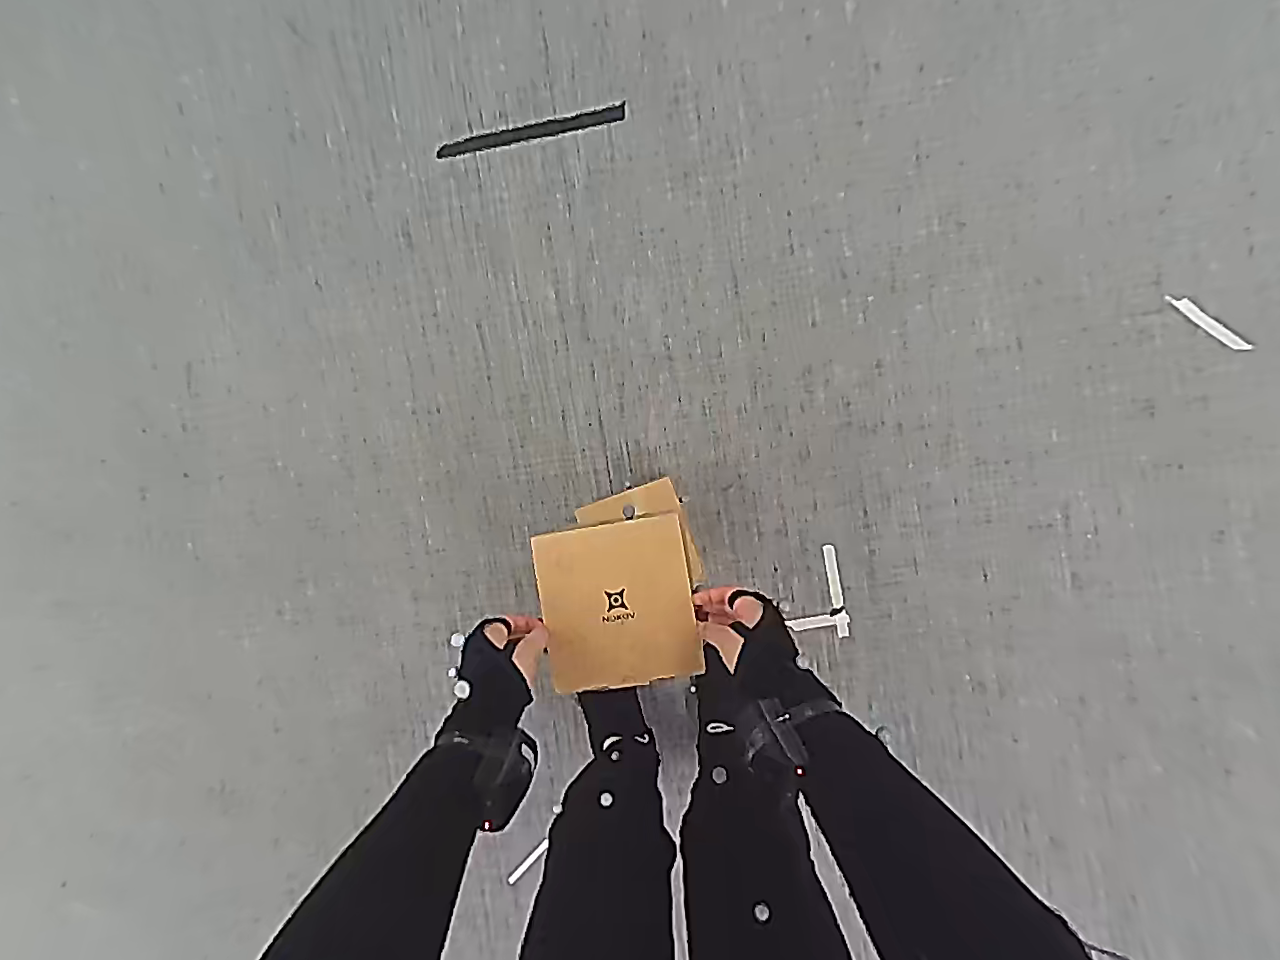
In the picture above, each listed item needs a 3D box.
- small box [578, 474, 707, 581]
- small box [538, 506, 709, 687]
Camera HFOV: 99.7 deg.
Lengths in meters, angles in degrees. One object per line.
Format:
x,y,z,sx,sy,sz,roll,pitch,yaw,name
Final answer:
0.007,0.096,0.937,0.168,0.176,0.179,-20,91,5,small box
-0.015,0.128,0.662,0.168,0.176,0.179,-10,89,4,small box
